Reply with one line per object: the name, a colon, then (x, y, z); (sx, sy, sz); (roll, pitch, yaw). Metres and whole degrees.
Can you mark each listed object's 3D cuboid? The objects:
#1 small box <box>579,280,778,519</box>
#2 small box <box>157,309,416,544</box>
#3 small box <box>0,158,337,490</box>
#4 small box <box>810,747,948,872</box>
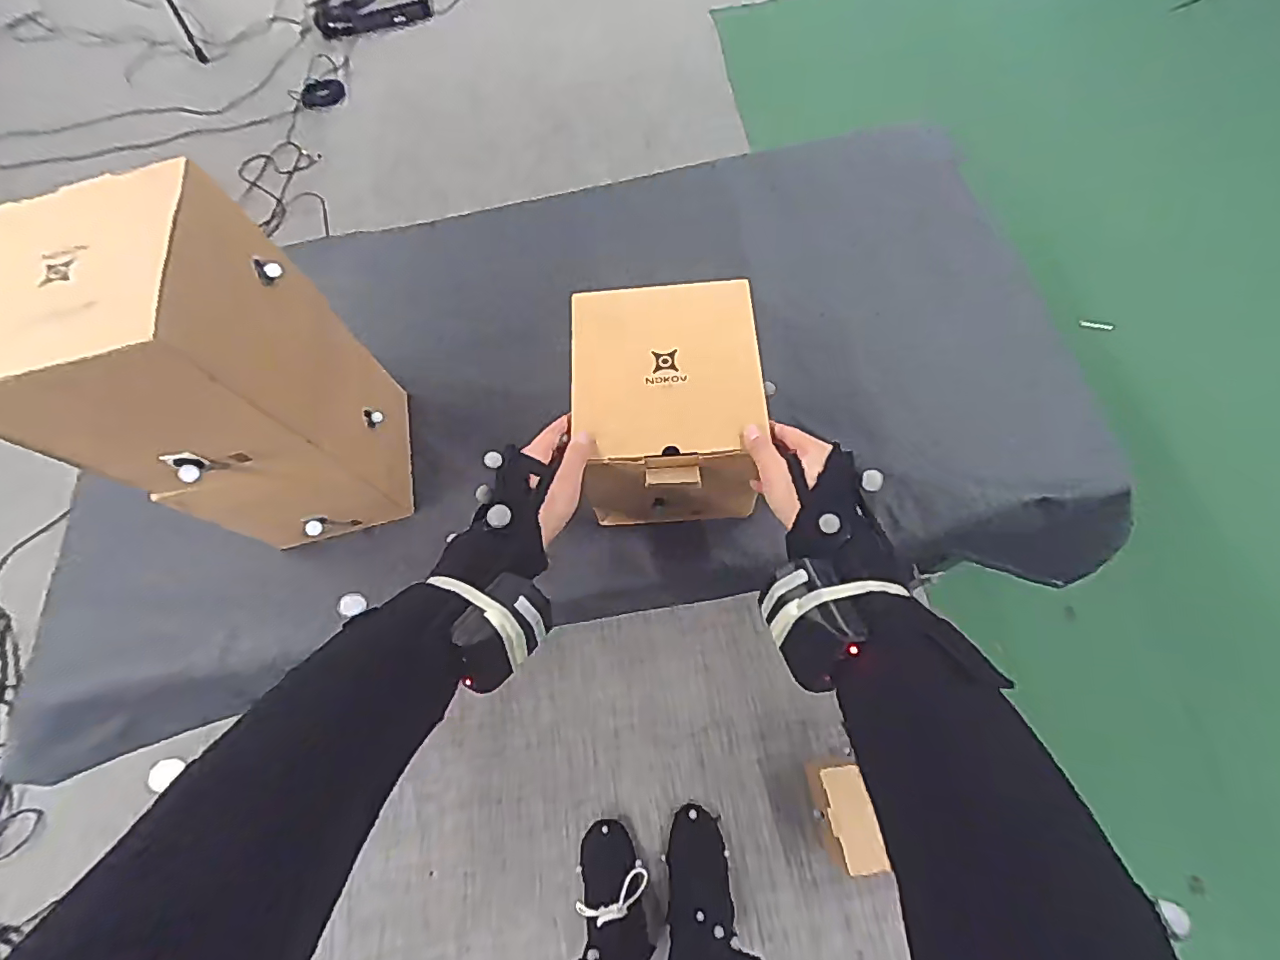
small box: (0.033, -0.071, 0.544); (0.168, 0.176, 0.179); (-4, 69, 3)
small box: (-0.364, -0.049, 0.592); (0.168, 0.176, 0.179); (-14, 66, 0)
small box: (-0.376, -0.114, 0.444); (0.168, 0.176, 0.179); (-15, 67, 1)
small box: (0.431, 0.608, 1.015); (0.179, 0.176, 0.168); (-12, 65, 2)
